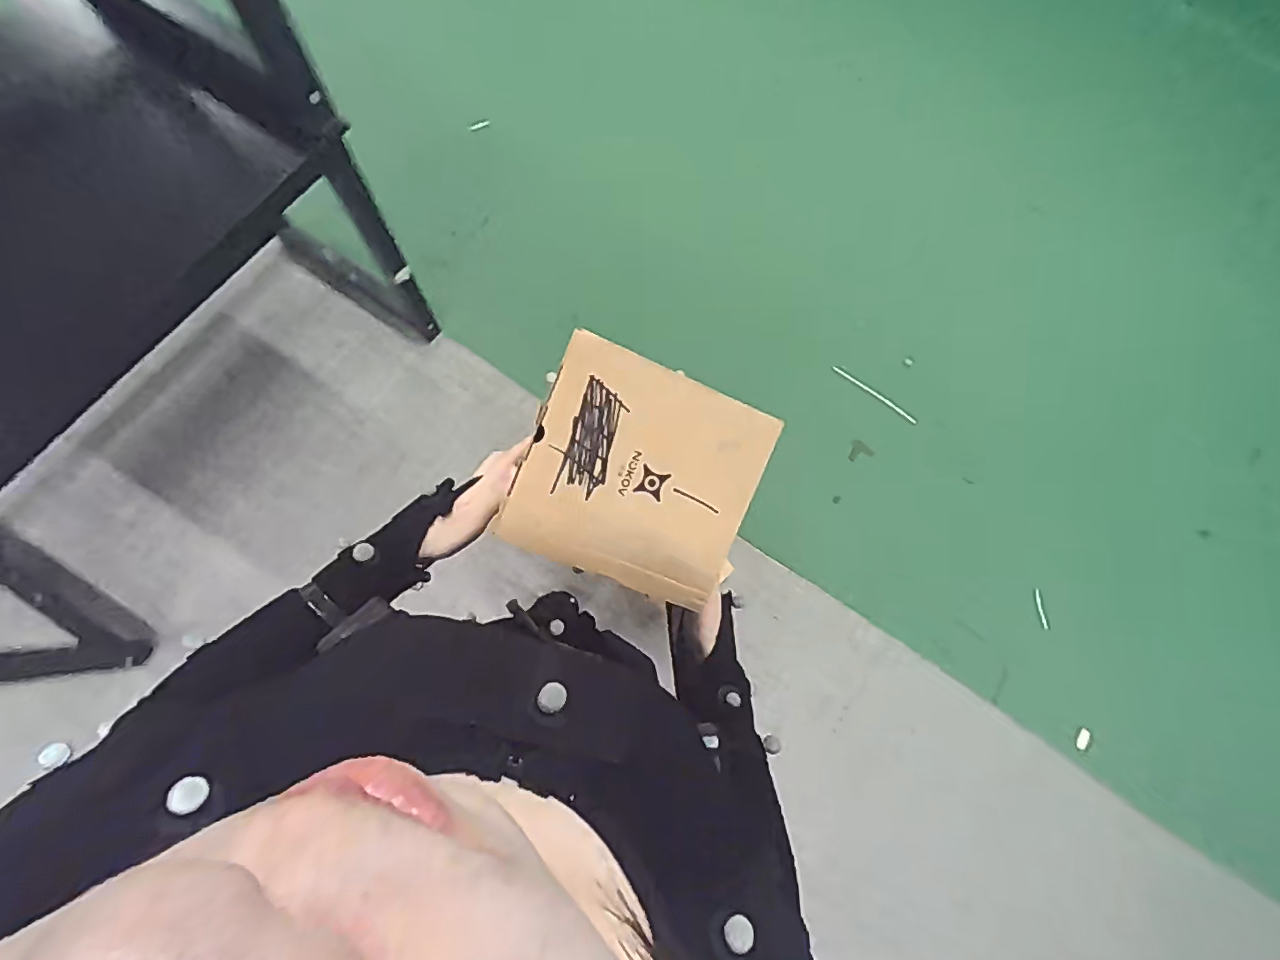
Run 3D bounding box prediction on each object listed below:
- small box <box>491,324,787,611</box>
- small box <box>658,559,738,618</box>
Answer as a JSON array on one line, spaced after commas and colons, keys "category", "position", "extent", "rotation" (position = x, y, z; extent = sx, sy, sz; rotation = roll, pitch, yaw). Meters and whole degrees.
[{"category": "small box", "position": [-0.010, -0.012, 0.473], "extent": [0.179, 0.176, 0.168], "rotation": [21, 93, -11]}, {"category": "small box", "position": [0.100, 0.213, 1.296], "extent": [0.168, 0.176, 0.179], "rotation": [-44, 85, -13]}]
